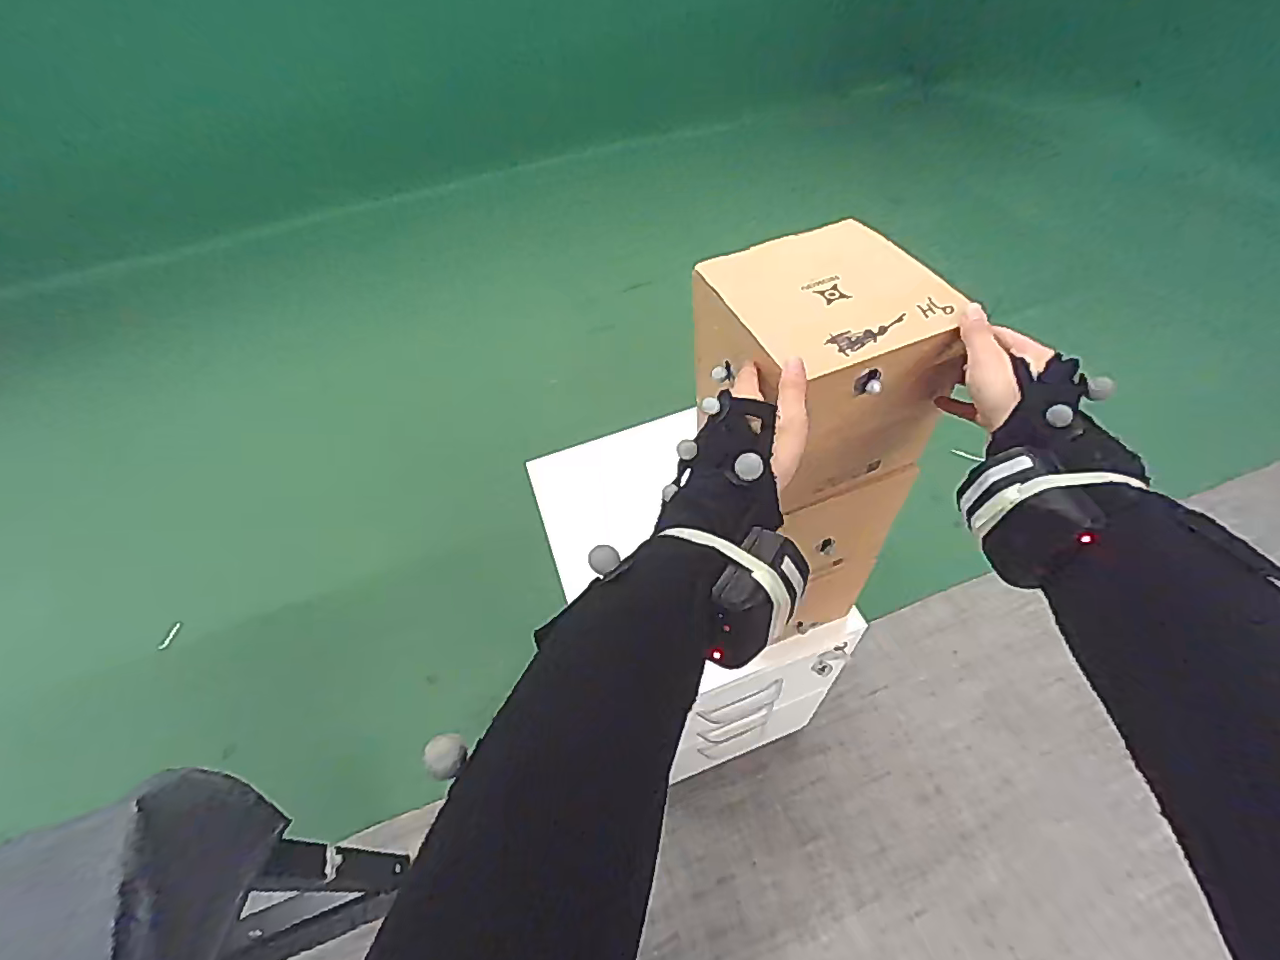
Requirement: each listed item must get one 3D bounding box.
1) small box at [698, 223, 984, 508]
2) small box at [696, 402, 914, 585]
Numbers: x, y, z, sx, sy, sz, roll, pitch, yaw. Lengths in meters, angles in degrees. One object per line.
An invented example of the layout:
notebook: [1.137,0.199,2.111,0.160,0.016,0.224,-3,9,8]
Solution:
small box: [0.160,-0.105,0.504,0.168,0.176,0.179,-19,52,-9]
small box: [0.173,0.002,0.628,0.168,0.176,0.179,-17,52,-8]
